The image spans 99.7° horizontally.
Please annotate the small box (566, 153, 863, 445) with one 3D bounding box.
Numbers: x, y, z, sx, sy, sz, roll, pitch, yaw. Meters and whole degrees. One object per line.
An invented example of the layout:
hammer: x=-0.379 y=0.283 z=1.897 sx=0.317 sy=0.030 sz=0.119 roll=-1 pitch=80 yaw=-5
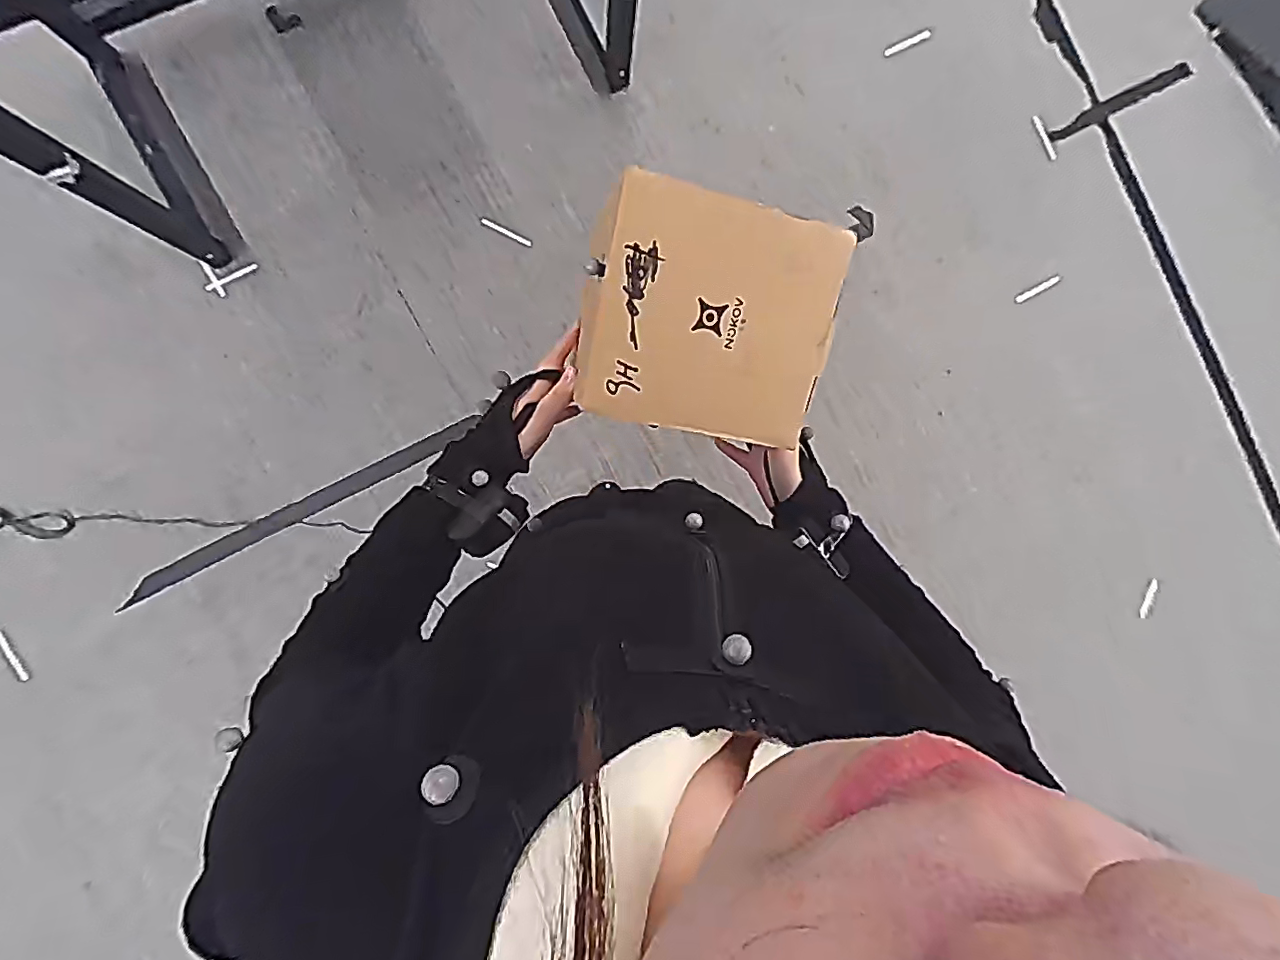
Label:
small box: x=0.043 y=-0.138 z=0.454 sx=0.179 sy=0.176 sz=0.168 roll=9 pitch=103 yaw=-15
